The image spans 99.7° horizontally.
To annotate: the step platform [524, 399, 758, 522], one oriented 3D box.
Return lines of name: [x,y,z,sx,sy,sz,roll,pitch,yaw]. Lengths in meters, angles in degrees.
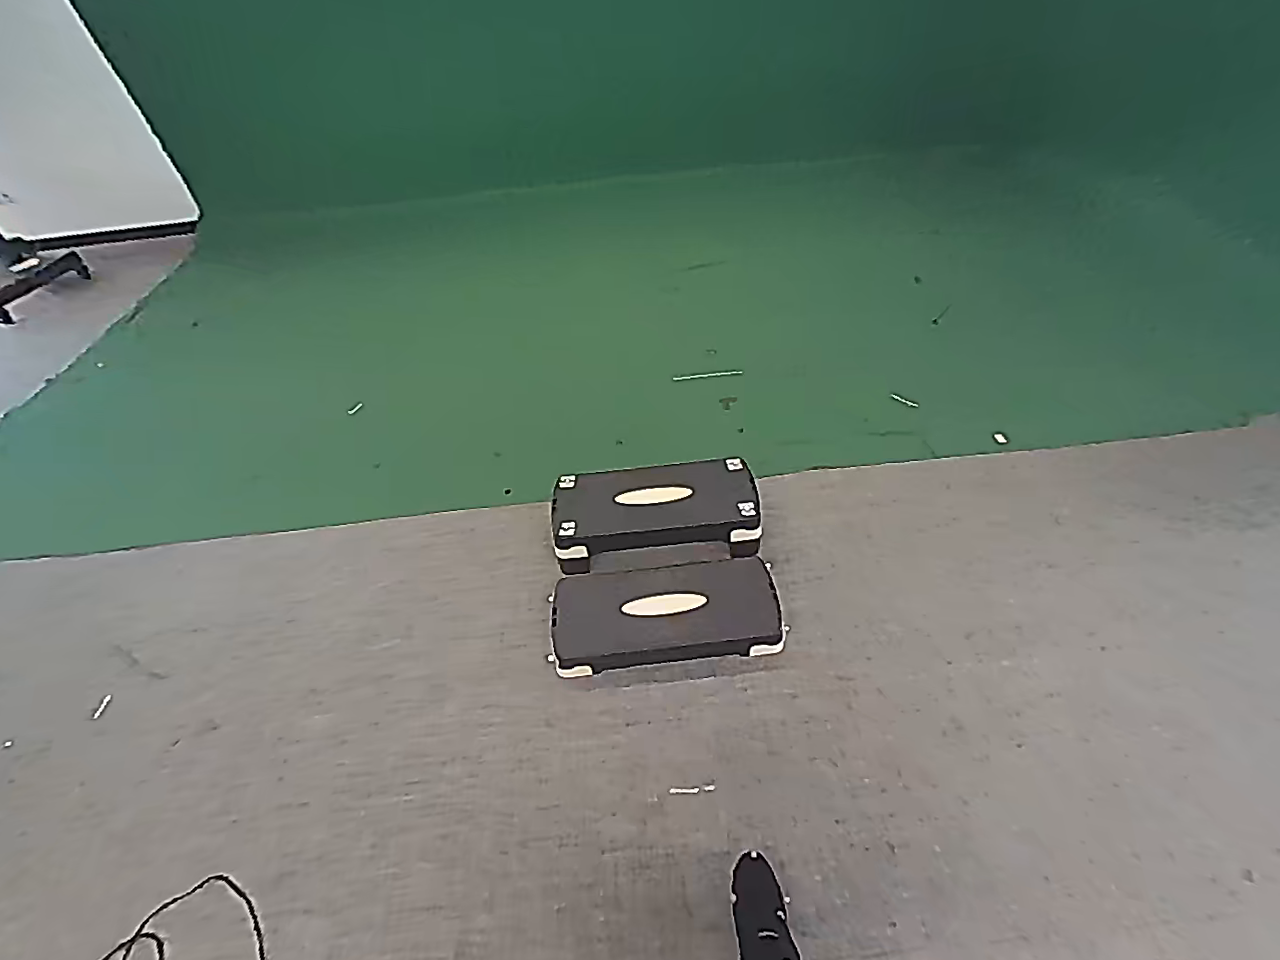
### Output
step platform: [0.004,-0.060,1.665,0.684,0.204,0.286,-6,48,0]
